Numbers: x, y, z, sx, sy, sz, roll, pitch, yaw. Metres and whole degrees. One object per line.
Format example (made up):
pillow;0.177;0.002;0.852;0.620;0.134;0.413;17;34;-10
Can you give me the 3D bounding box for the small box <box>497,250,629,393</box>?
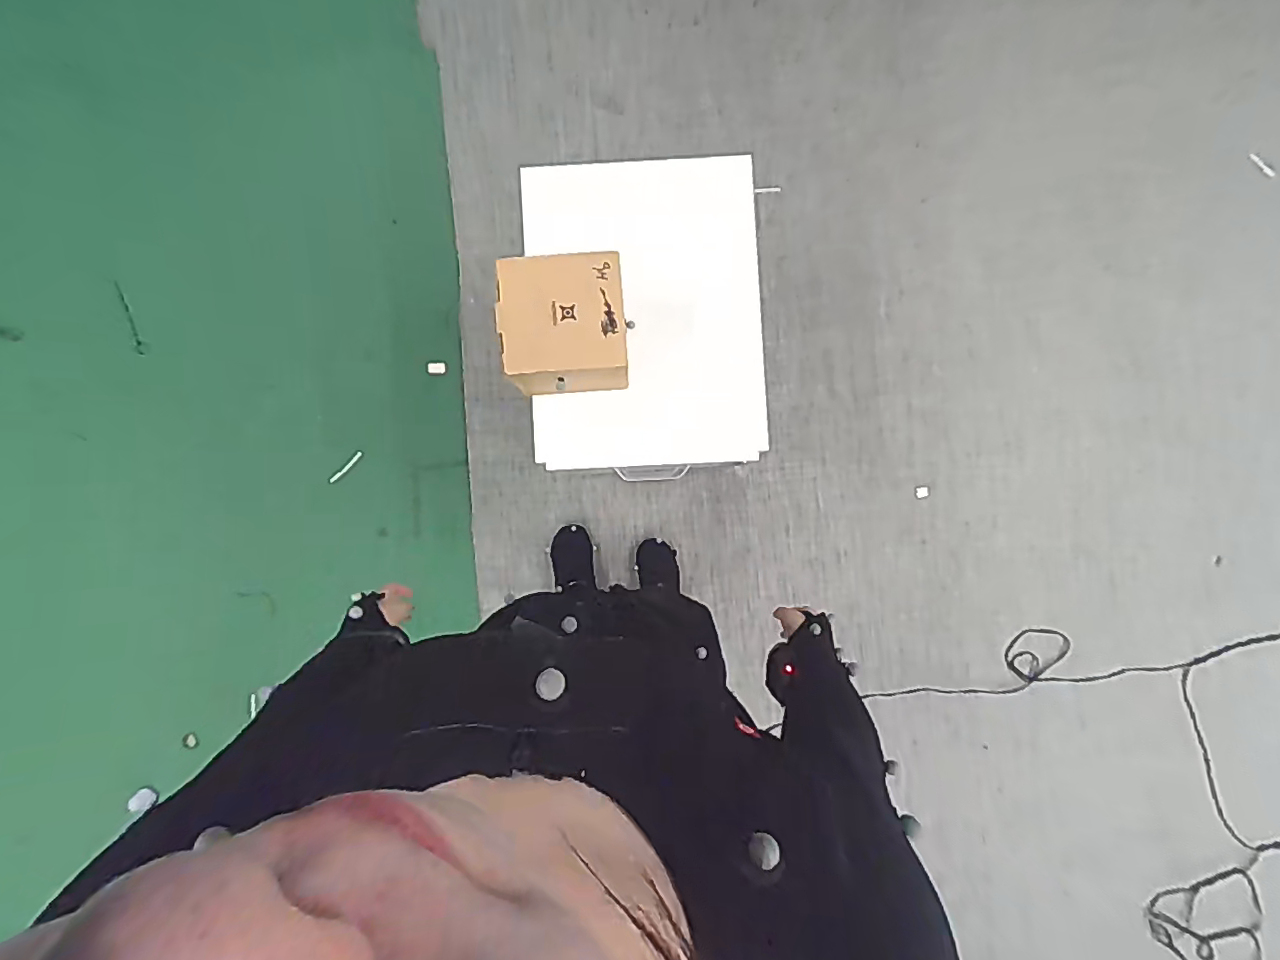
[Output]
small box;-0.109;-0.234;0.834;0.179;0.176;0.168;-5;90;-1
